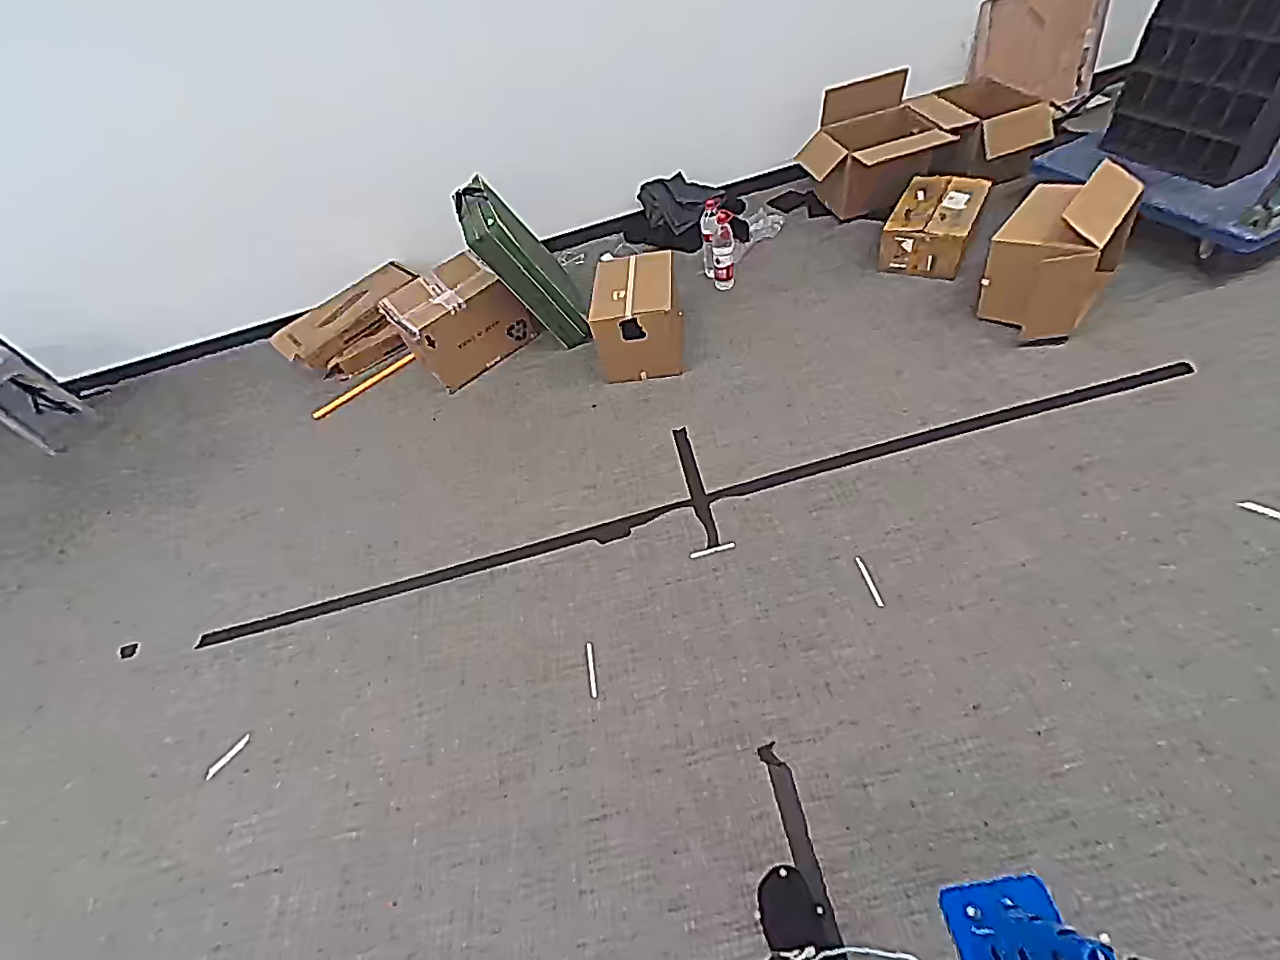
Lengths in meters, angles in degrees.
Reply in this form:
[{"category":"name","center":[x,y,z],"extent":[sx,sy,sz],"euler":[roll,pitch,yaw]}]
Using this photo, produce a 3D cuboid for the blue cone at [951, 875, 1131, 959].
[{"category":"blue cone","center":[0.665,0.755,0.870],"extent":[0.192,0.380,0.193],"euler":[-11,50,5]}]
